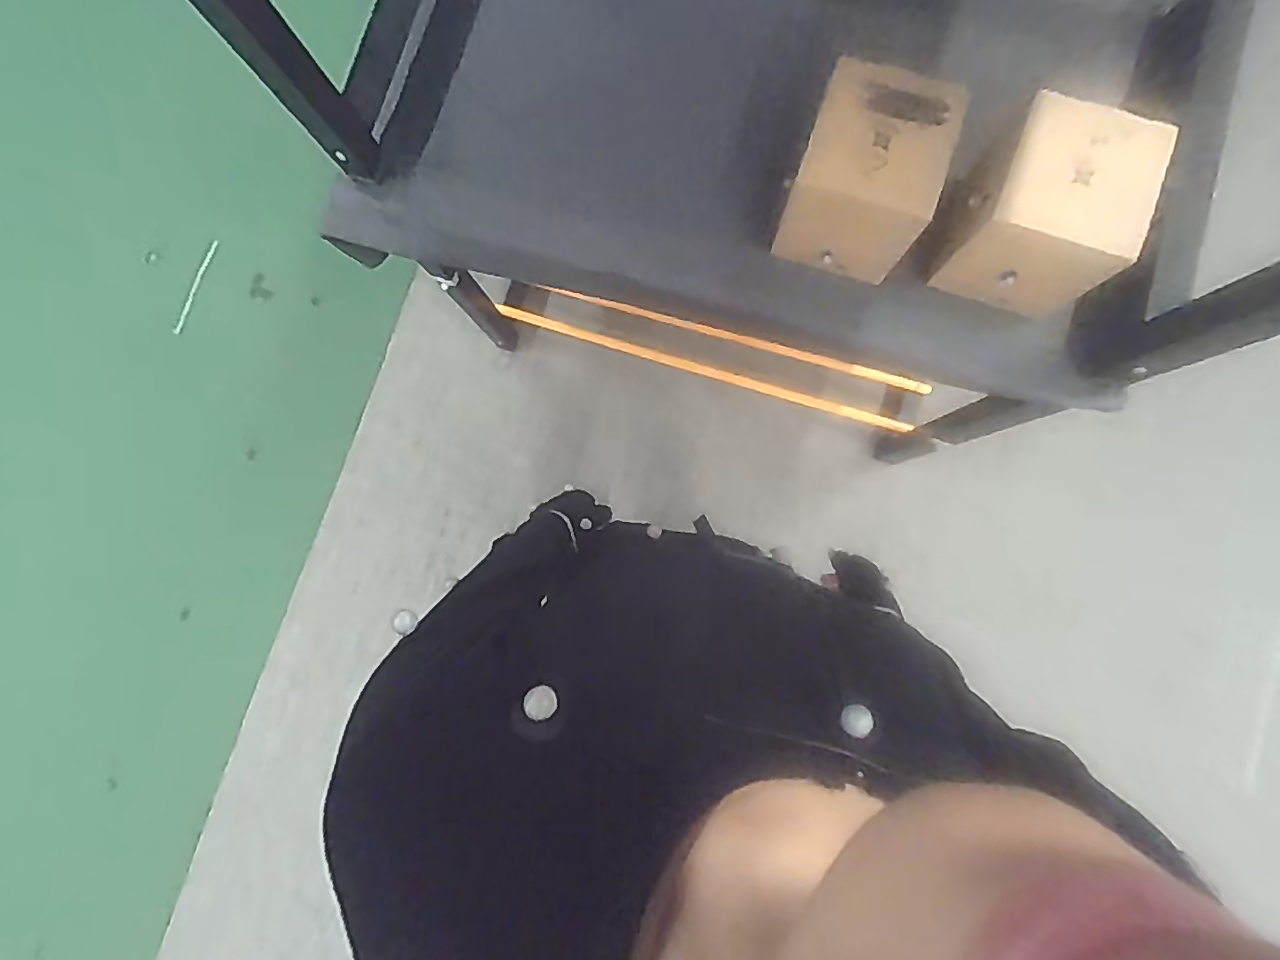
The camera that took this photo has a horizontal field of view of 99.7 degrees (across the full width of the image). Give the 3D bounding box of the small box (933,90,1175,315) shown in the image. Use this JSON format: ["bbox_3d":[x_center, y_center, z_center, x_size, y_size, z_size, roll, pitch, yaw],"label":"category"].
[{"bbox_3d":[0.514,-0.343,0.701,0.168,0.176,0.179,21,85,6],"label":"small box"}]
